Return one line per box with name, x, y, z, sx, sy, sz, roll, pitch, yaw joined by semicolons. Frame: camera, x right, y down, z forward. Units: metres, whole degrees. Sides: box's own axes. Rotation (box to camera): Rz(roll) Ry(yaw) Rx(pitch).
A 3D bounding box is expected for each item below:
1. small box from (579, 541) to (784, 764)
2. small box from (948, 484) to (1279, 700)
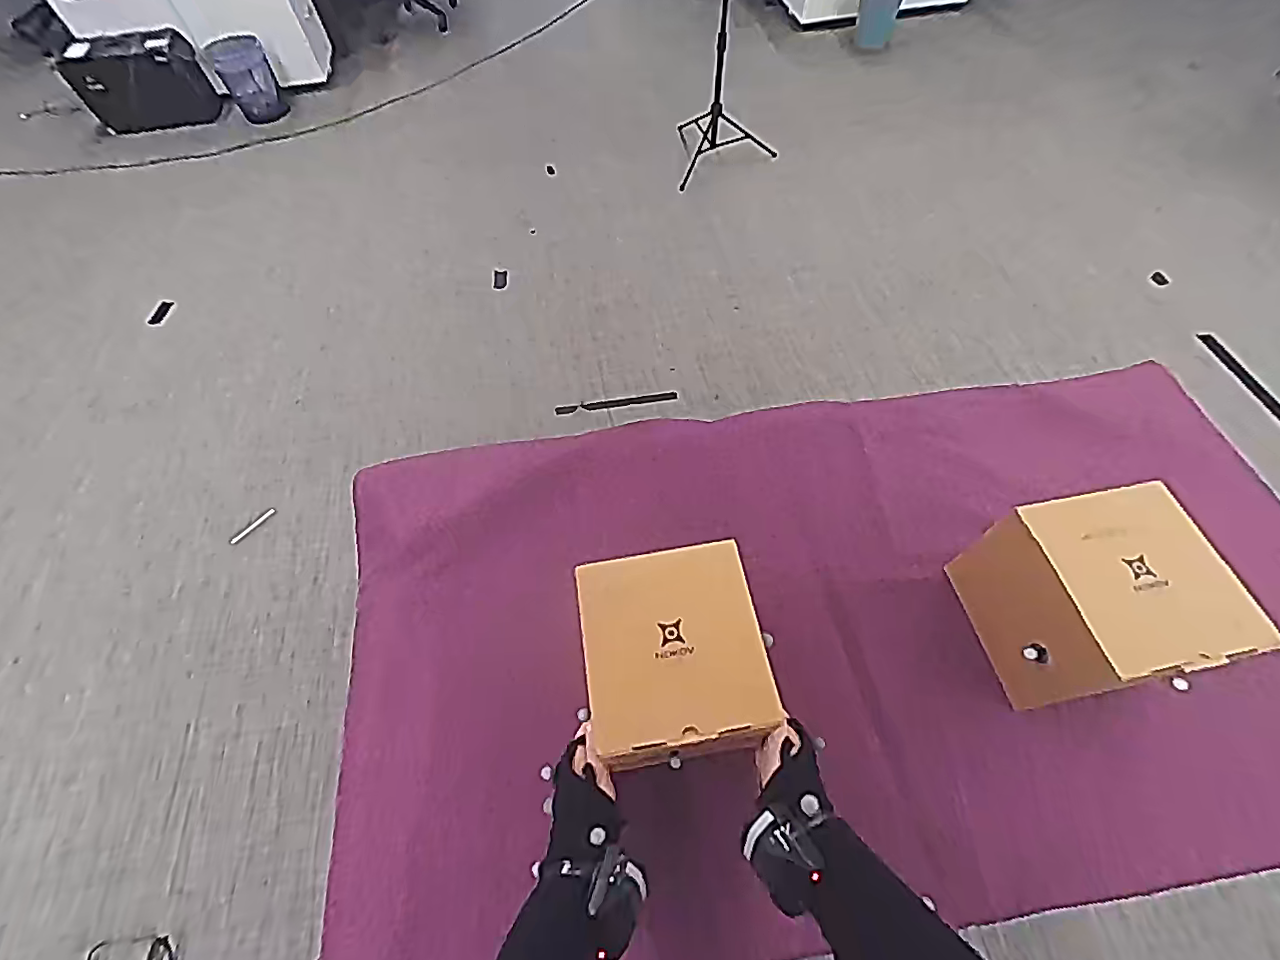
small box;0.032;0.186;0.570;0.168;0.176;0.179;-9;61;-4
small box;0.478;0.130;0.584;0.168;0.176;0.179;-9;59;-4
